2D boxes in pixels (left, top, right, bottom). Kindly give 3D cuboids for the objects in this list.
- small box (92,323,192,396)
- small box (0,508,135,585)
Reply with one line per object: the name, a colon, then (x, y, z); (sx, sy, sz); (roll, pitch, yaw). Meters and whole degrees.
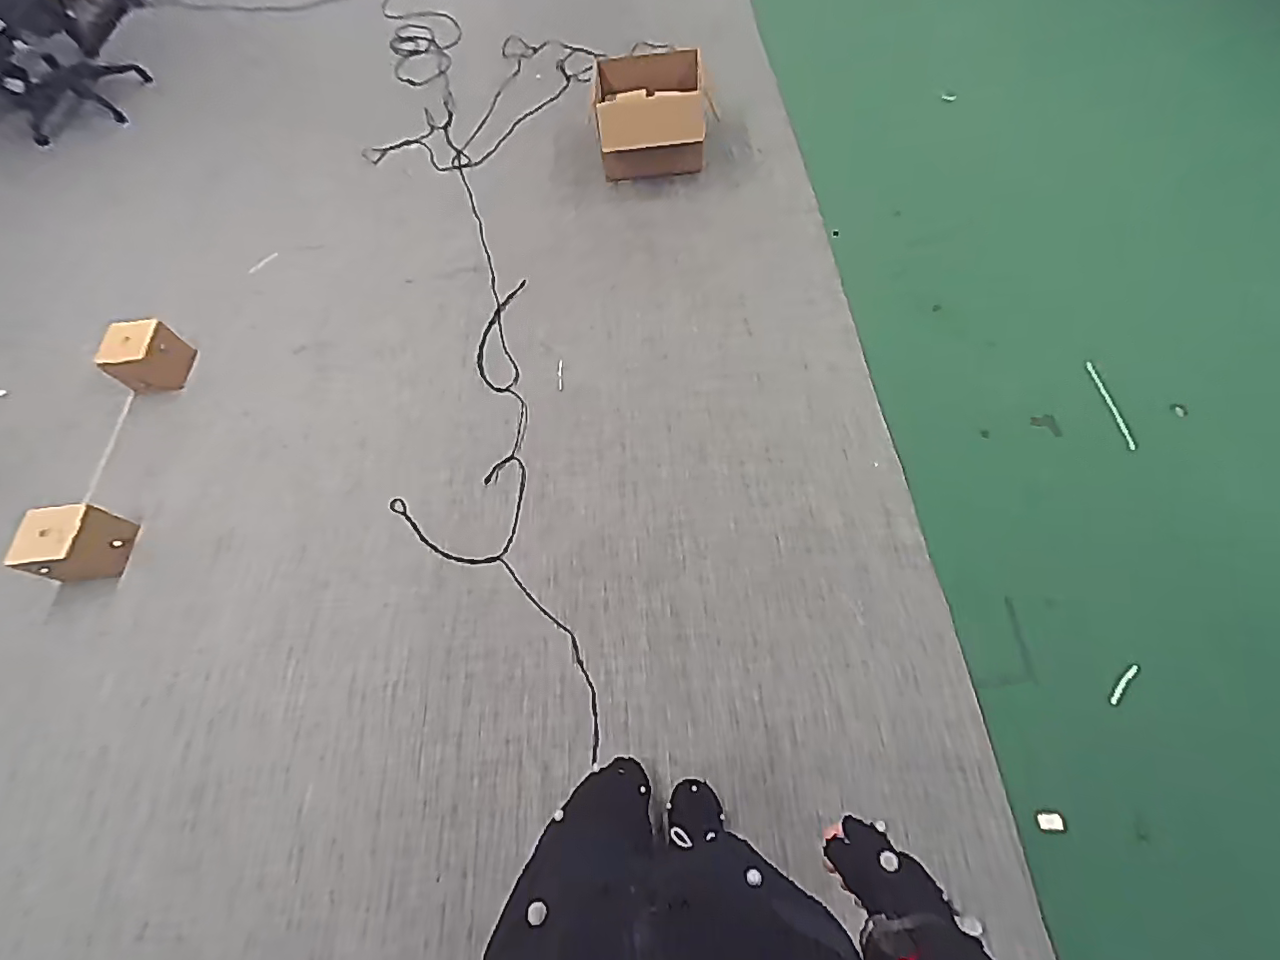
small box: (-1.693, -0.410, 1.852); (0.168, 0.176, 0.179); (-6, 63, 1)
small box: (-1.618, 0.194, 1.538); (0.179, 0.176, 0.168); (-6, 63, 1)
